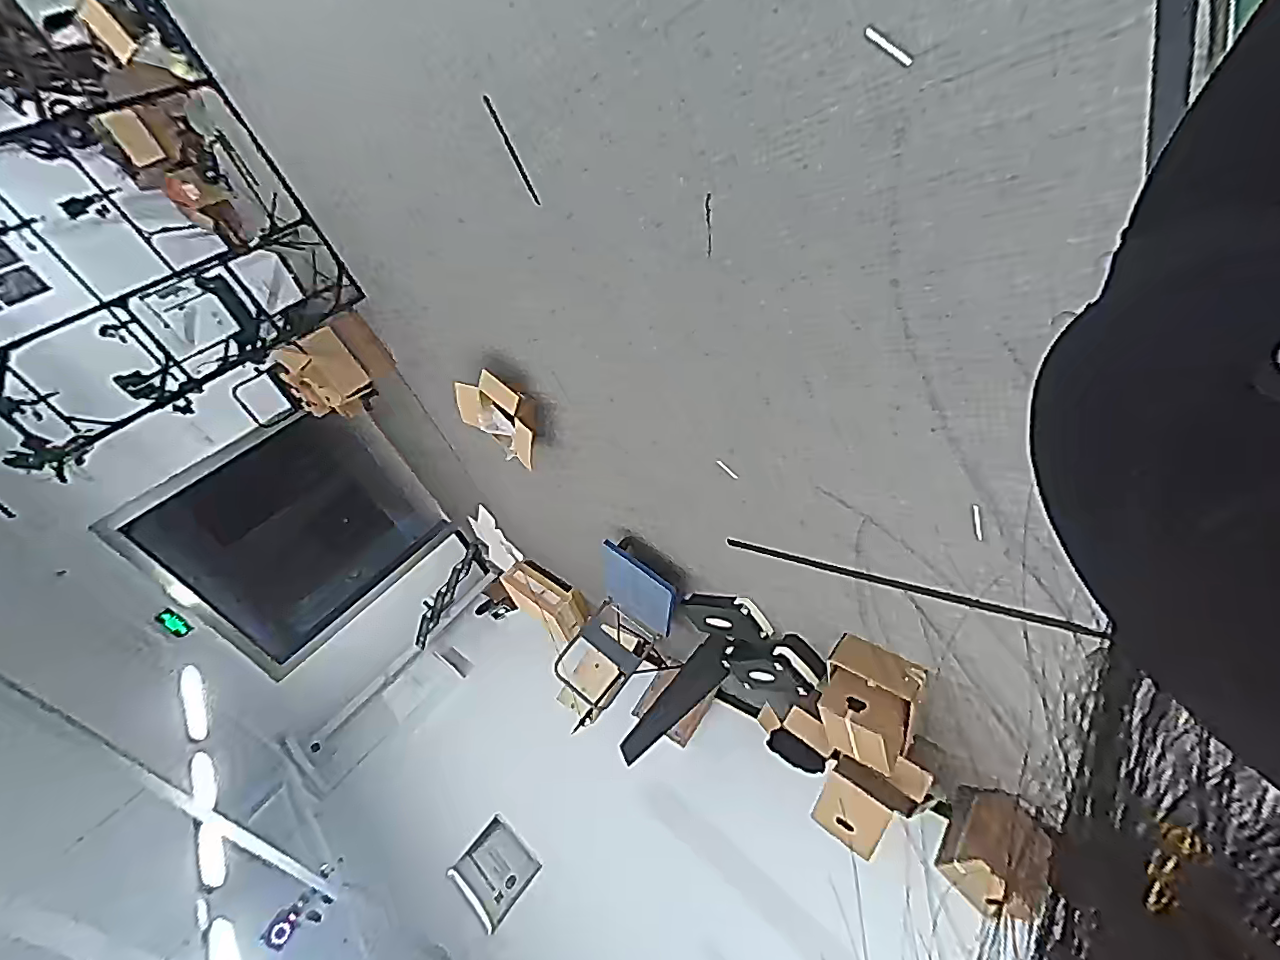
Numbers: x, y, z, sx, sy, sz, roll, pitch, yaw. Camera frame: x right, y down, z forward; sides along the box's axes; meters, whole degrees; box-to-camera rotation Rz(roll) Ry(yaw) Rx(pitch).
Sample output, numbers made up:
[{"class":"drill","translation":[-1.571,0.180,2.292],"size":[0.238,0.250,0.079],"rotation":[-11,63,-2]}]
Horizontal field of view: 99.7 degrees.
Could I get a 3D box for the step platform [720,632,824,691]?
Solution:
[{"class":"step platform","translation":[0.771,1.097,3.264],"size":[0.286,0.204,0.684],"rotation":[47,151,-4]}]
